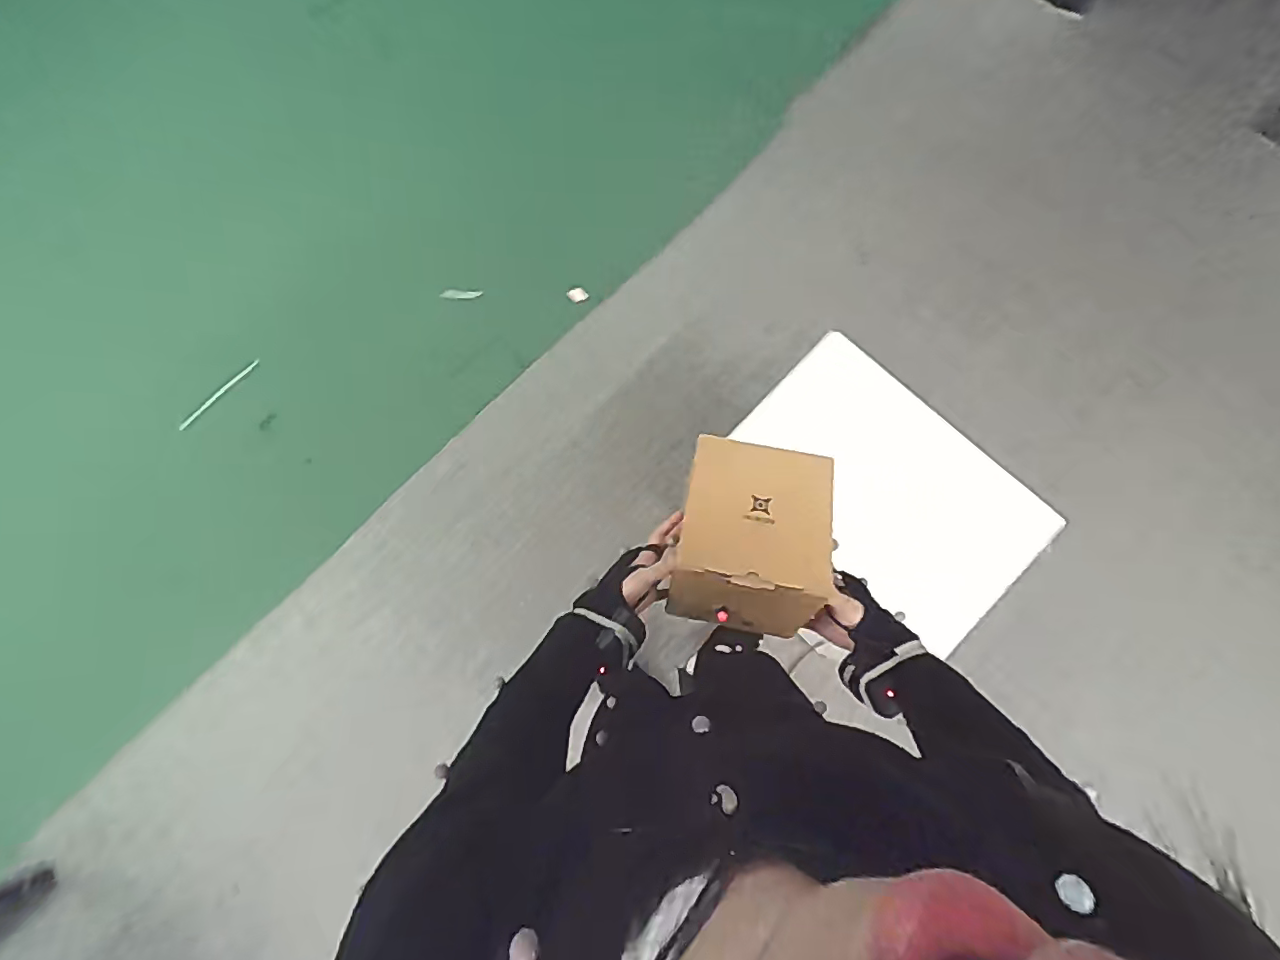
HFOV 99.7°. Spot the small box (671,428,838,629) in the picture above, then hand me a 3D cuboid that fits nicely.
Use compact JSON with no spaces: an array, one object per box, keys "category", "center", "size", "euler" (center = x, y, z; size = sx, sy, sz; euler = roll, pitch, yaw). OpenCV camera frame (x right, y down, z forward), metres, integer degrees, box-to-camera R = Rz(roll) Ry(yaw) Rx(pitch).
[{"category":"small box","center":[0.132,0.064,0.659],"size":[0.168,0.176,0.179],"euler":[9,61,4]}]
